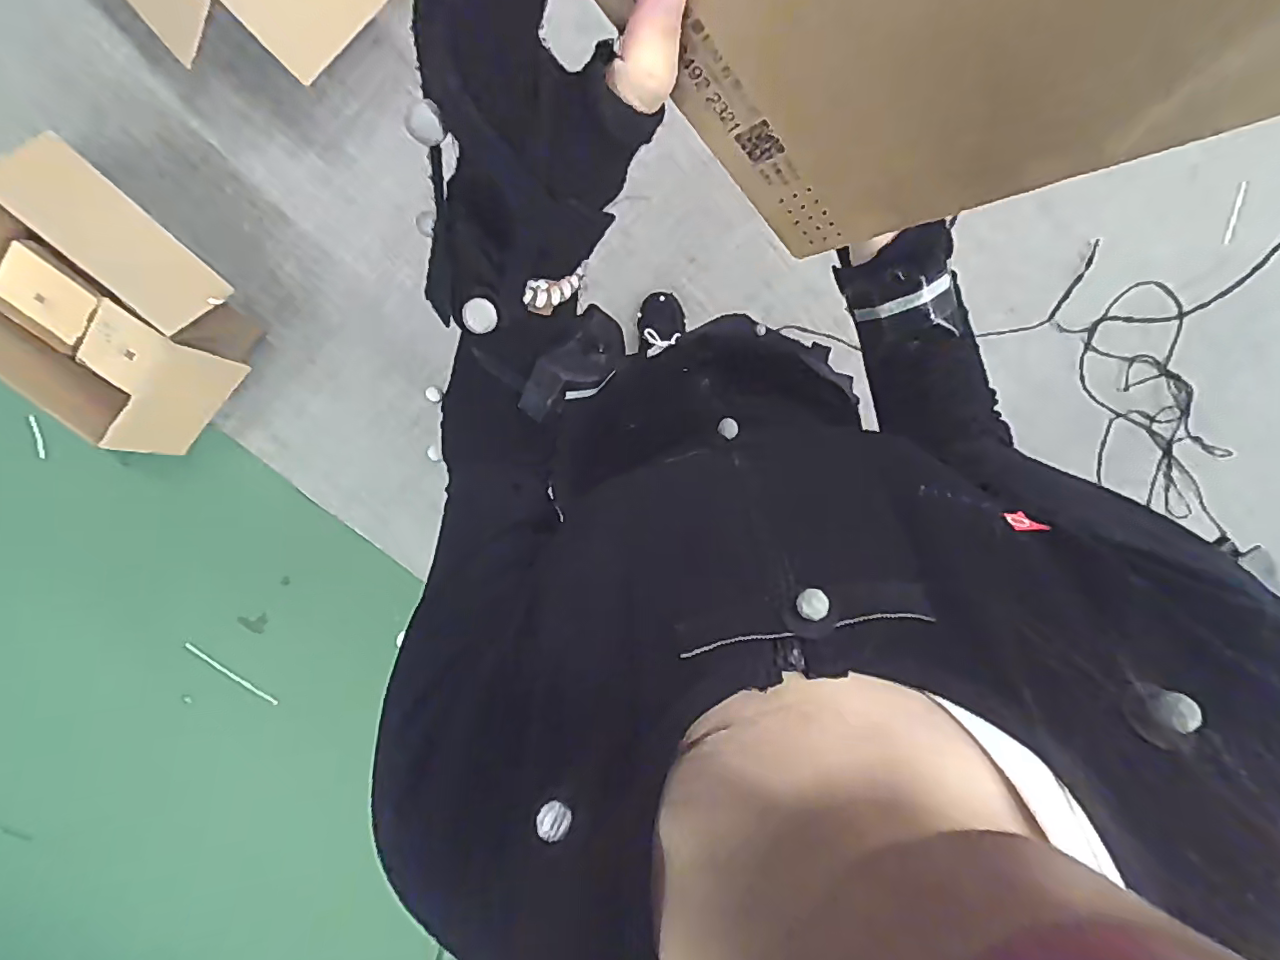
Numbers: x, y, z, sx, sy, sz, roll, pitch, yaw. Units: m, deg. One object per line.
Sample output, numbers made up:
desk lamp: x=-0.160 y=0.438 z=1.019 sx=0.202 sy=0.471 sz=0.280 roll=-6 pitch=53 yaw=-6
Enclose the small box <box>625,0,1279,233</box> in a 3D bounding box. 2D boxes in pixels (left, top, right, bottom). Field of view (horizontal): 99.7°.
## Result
small box: x=0.098 y=-0.214 z=0.167 sx=0.168 sy=0.176 sz=0.179 roll=30 pitch=74 yaw=-38
